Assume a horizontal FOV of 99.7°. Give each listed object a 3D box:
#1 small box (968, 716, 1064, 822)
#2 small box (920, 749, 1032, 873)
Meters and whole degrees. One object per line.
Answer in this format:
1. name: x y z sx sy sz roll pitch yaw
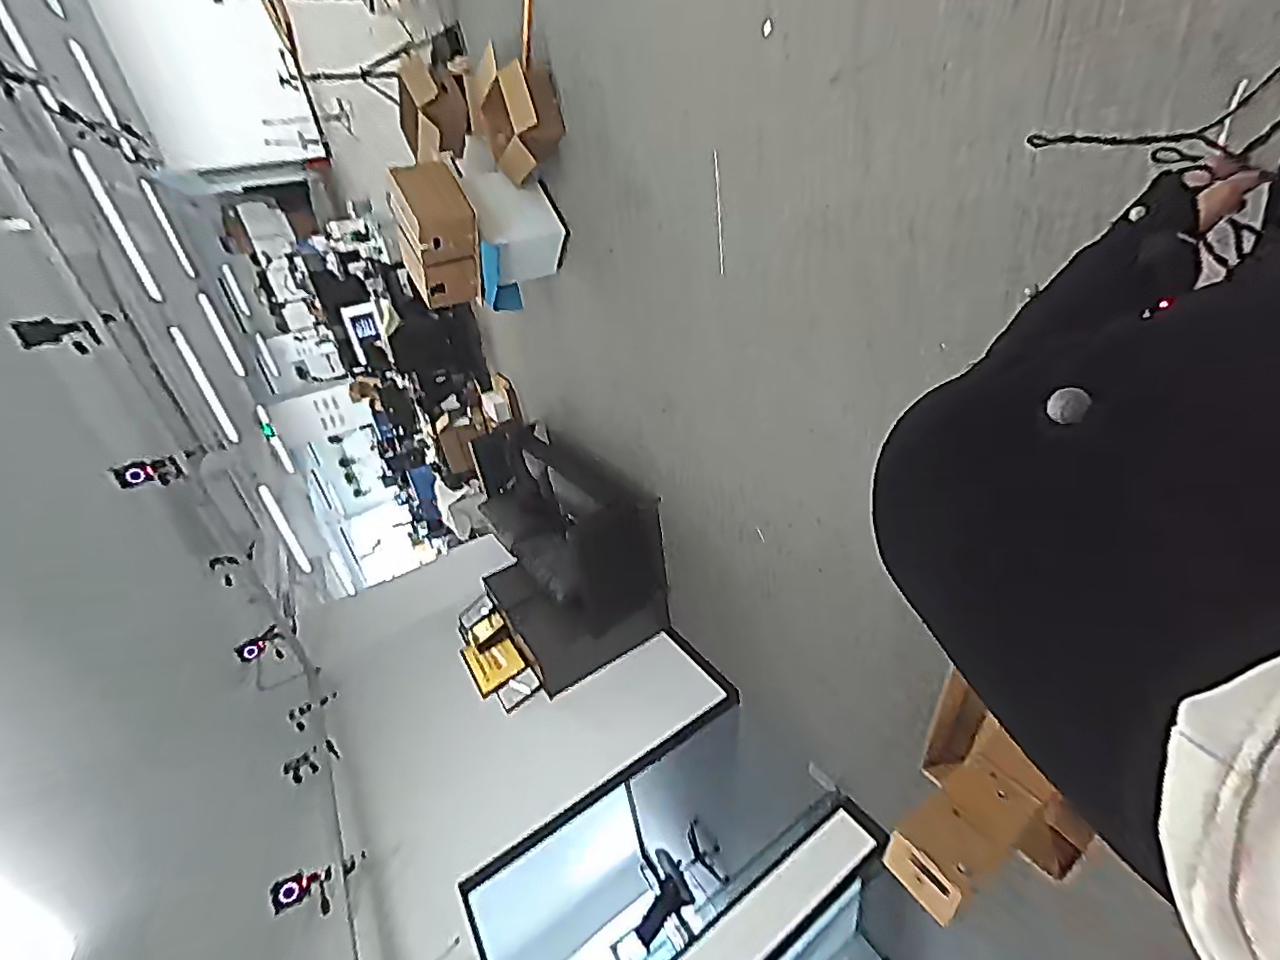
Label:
1. small box: 0.983 0.776 1.441 0.168 0.176 0.179 36 139 46
2. small box: 0.849 0.830 1.369 0.168 0.176 0.179 36 139 48
